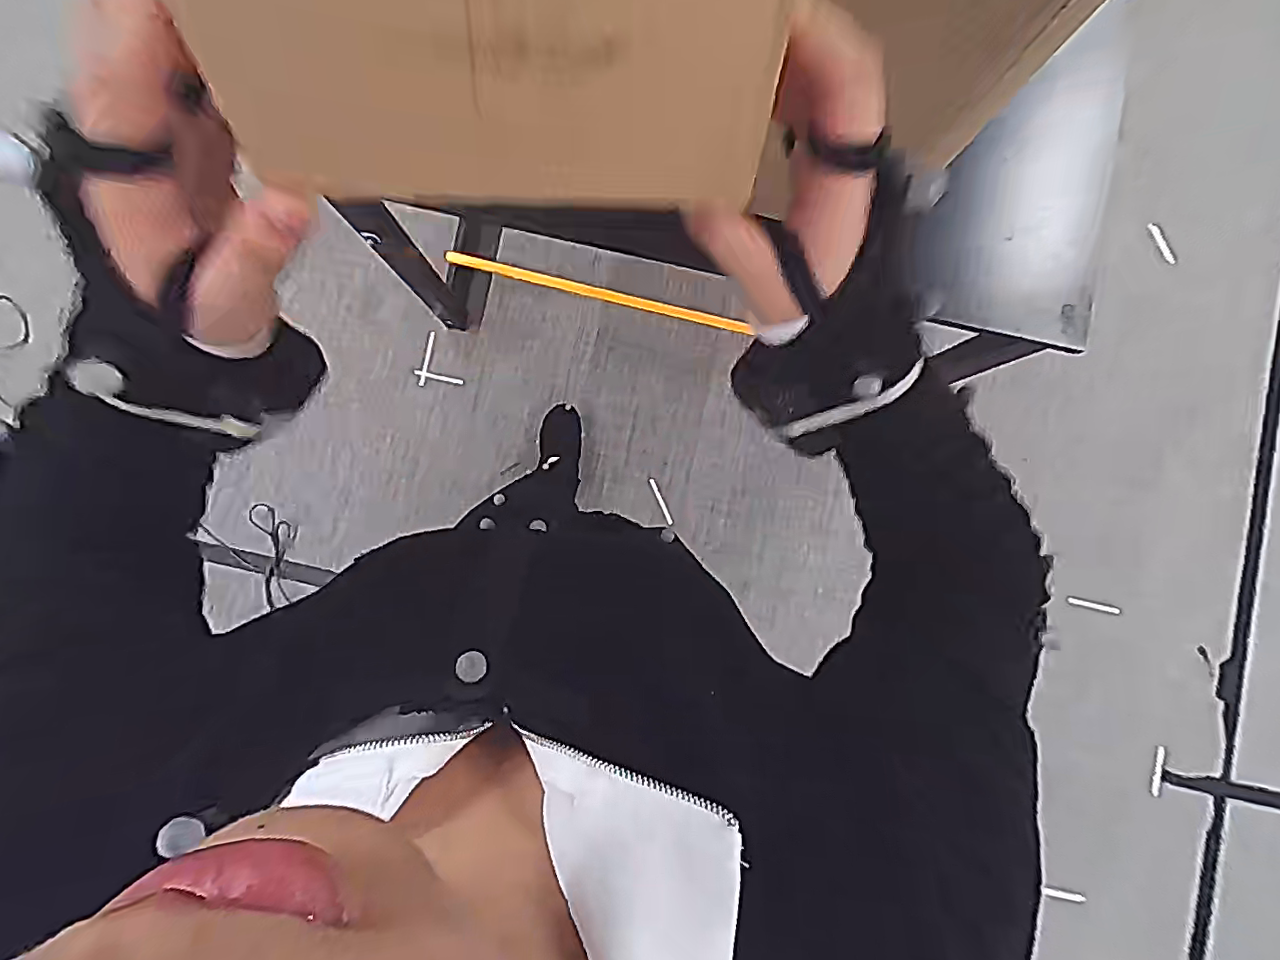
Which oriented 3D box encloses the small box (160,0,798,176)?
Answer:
[{"bbox_3d":[-0.041,-0.216,0.146,0.168,0.179,0.176,0,59,-5],"label":"small box"}]
